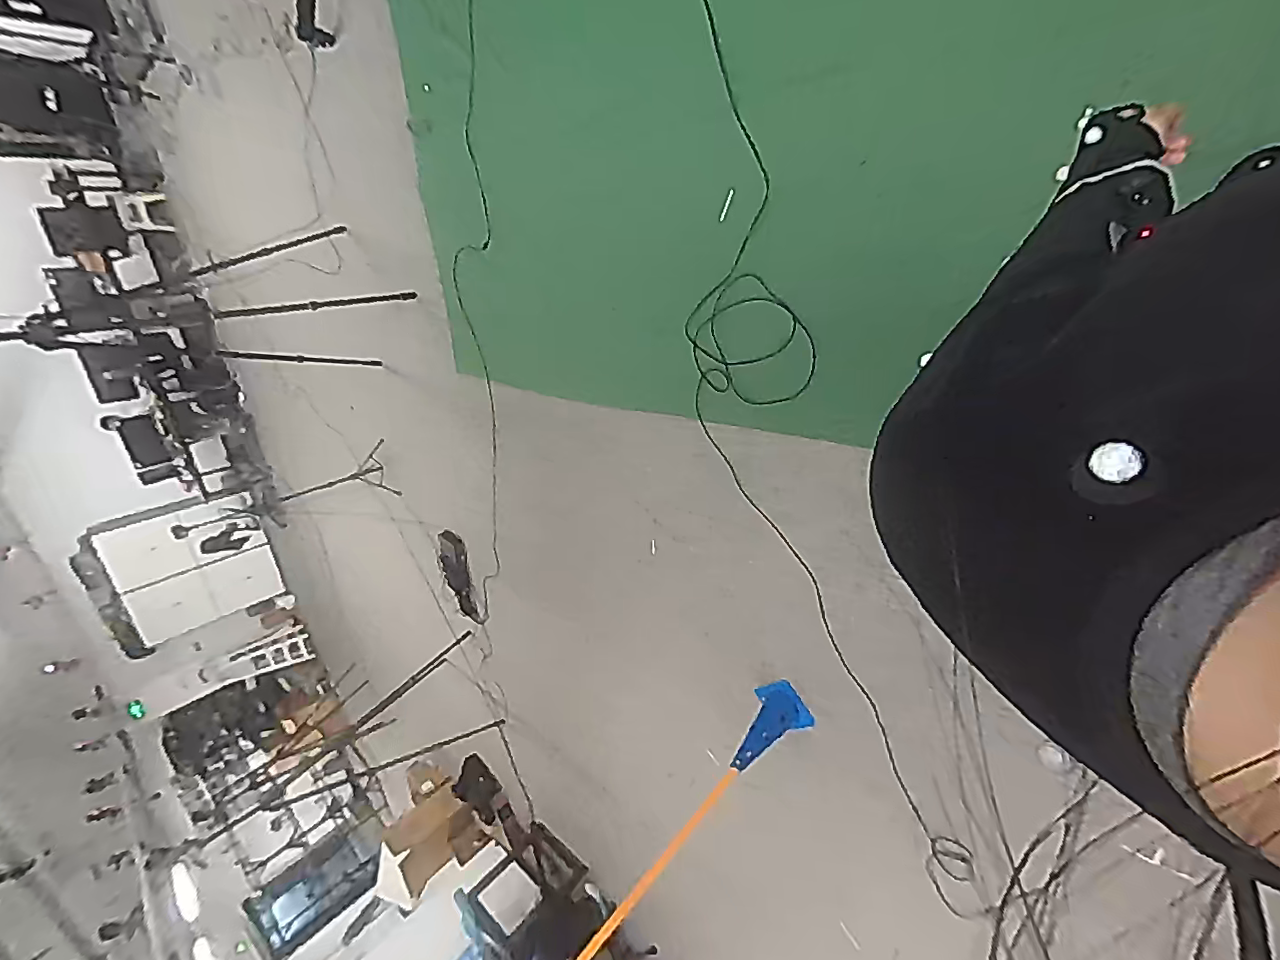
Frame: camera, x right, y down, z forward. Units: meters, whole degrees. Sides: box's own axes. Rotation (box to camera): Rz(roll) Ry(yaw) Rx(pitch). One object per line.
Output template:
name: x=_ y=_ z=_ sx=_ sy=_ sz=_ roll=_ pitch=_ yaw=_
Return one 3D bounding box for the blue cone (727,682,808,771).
blue cone: x=0.451 y=0.957 z=2.034 sx=0.192 sy=0.380 sz=0.193 roll=54 pitch=139 yaw=9
